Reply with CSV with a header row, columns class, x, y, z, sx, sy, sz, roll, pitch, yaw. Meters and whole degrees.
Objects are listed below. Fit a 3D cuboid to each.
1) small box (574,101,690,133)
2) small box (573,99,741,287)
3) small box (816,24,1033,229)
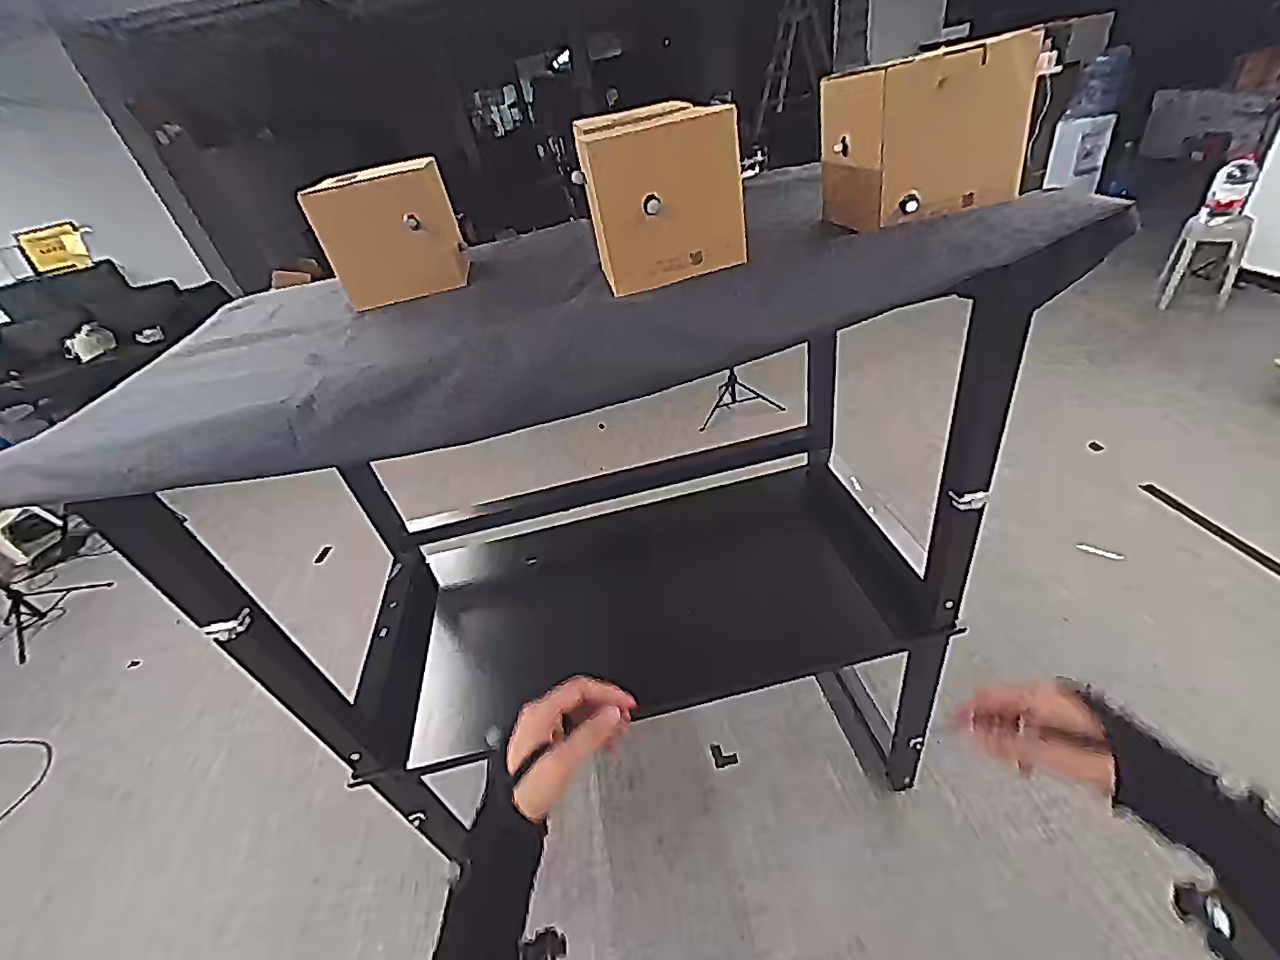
class,x,y,z,sx,sy,sz,roll,pitch,yaw
small box,-0.007,-0.501,0.884,0.168,0.176,0.179,-14,35,-2
small box,0.020,-0.355,0.678,0.168,0.176,0.179,-14,34,-2
small box,0.330,-0.419,0.662,0.168,0.176,0.179,-13,32,1
